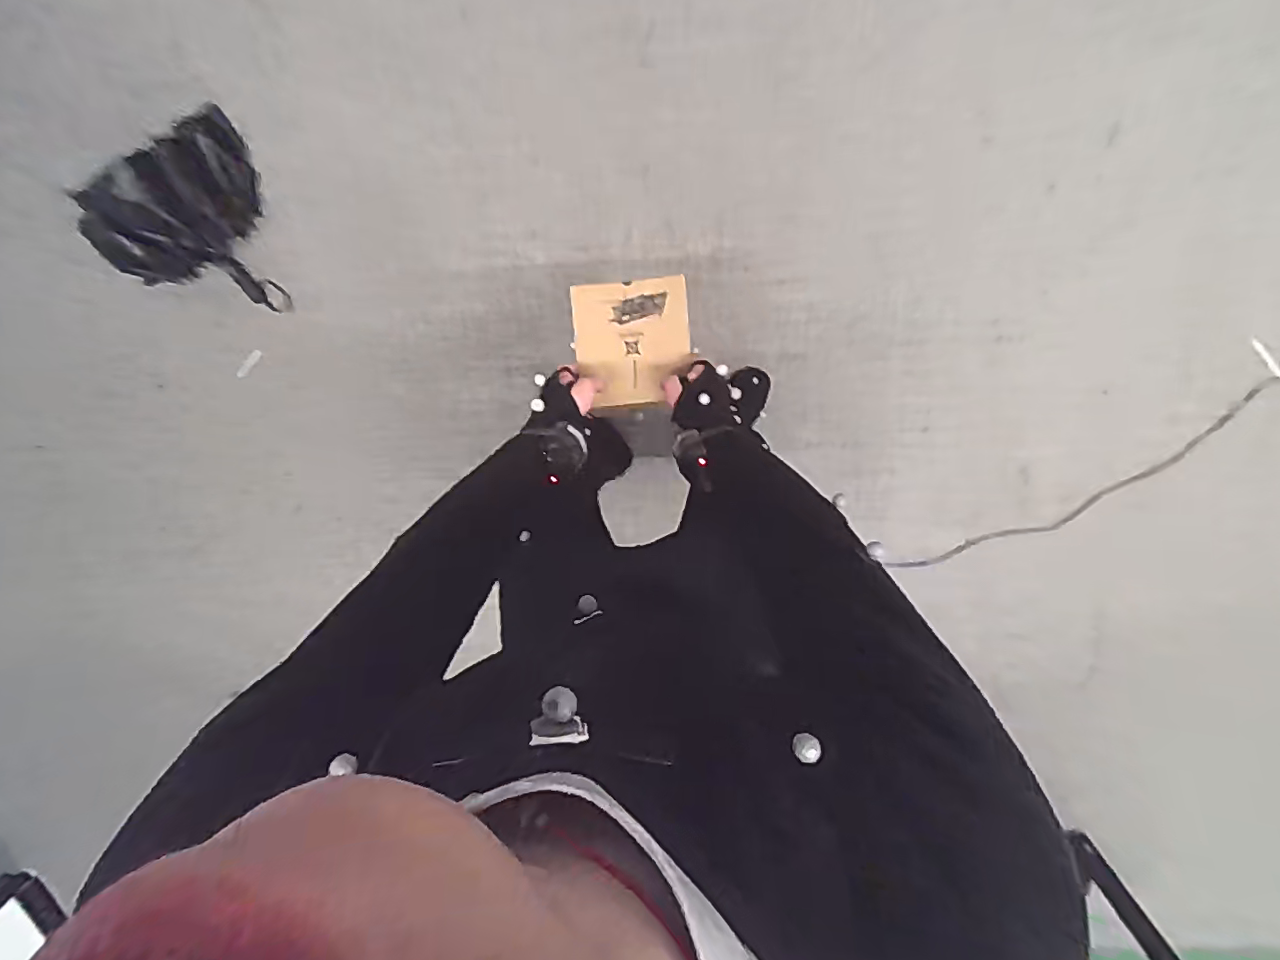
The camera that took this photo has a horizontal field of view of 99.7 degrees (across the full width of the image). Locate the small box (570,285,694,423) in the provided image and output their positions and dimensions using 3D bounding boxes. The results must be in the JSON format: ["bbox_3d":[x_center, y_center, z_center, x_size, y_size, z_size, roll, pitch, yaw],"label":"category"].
[{"bbox_3d":[-0.007,-0.185,0.838,0.168,0.176,0.179,-5,95,4],"label":"small box"}]
